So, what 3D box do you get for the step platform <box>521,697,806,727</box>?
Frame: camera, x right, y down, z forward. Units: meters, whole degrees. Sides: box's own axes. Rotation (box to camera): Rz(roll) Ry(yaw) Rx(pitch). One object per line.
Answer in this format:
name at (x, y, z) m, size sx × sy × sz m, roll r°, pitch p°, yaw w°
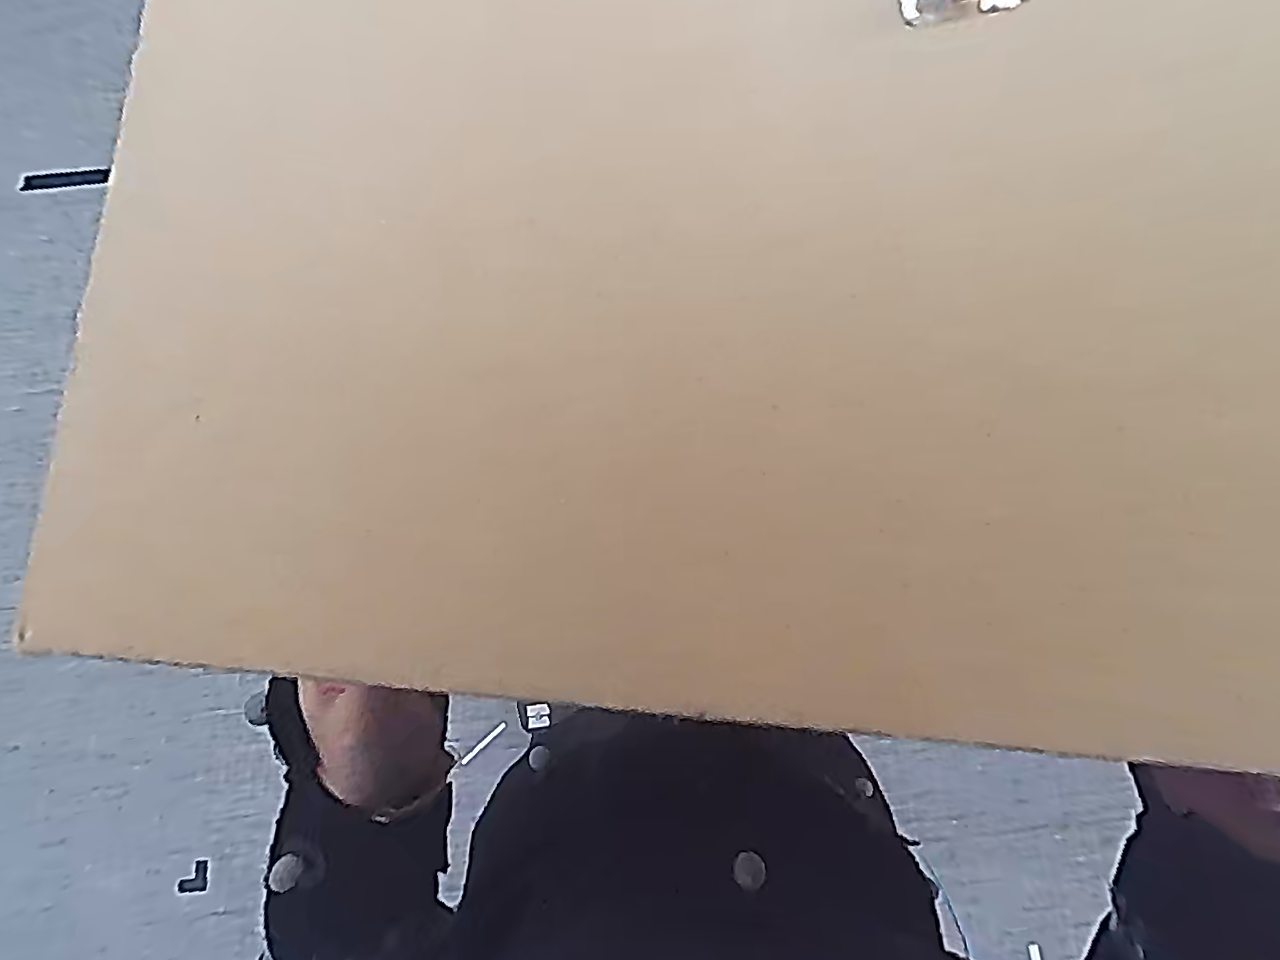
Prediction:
step platform at (0.060, 0.412, 1.281) m, size 0.684 × 0.204 × 0.286 m, roll 0°, pitch 81°, yaw 0°
